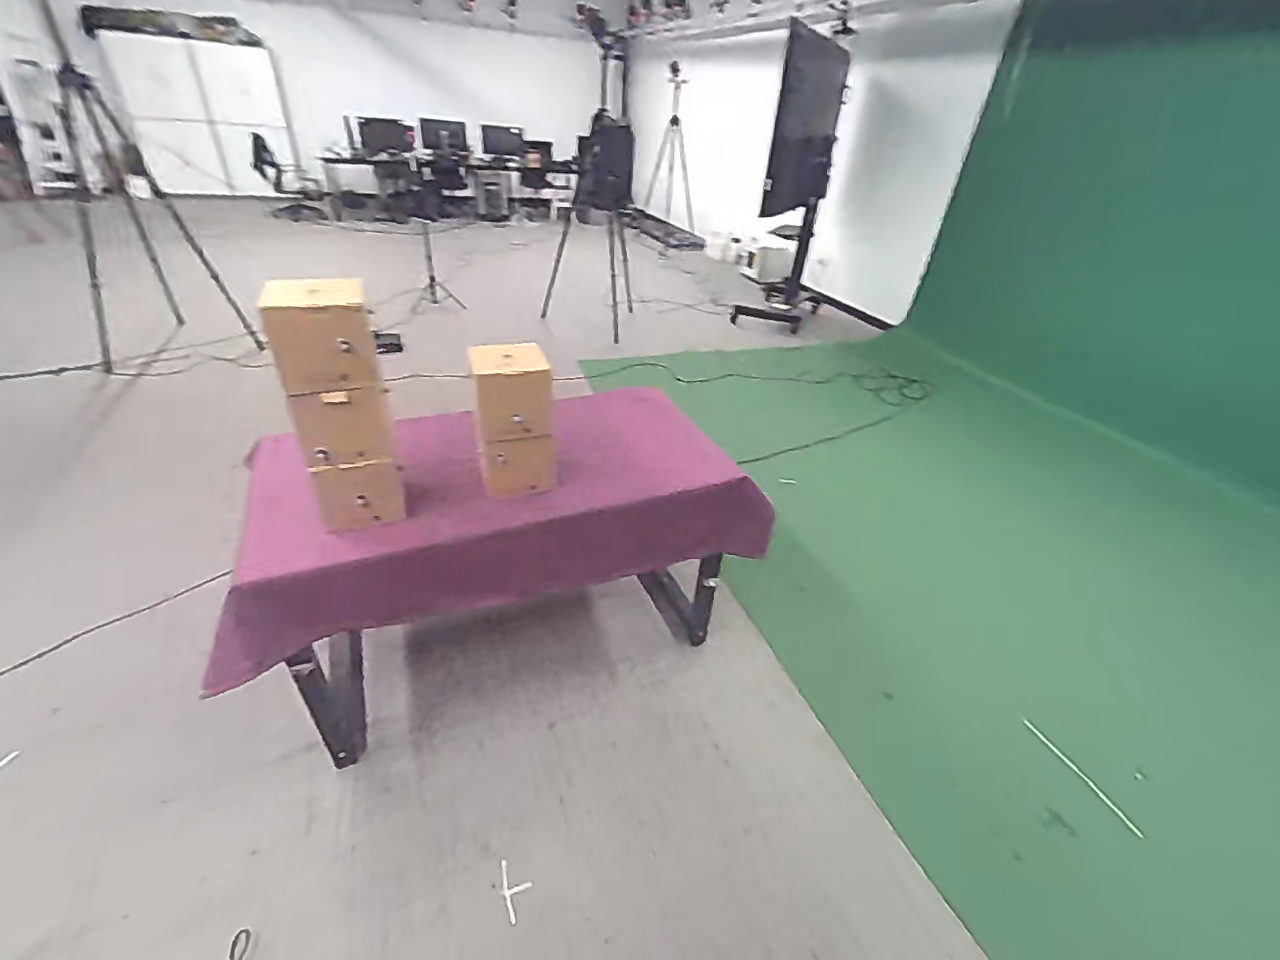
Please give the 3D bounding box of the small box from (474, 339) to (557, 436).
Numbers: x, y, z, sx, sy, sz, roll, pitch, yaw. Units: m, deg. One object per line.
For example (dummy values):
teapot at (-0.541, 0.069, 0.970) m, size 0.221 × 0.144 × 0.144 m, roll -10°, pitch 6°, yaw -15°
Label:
small box at (-0.295, -0.222, 1.276) m, size 0.168 × 0.176 × 0.179 m, roll -8°, pitch 37°, yaw -18°

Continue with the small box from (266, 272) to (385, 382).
small box at (-0.600, -0.296, 1.053) m, size 0.168 × 0.176 × 0.179 m, roll -9°, pitch 37°, yaw -22°

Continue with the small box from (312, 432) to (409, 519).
small box at (-0.629, -0.025, 1.235) m, size 0.168 × 0.176 × 0.179 m, roll -8°, pitch 38°, yaw -21°

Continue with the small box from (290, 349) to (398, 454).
small box at (-0.615, -0.165, 1.147) m, size 0.168 × 0.176 × 0.179 m, roll -8°, pitch 36°, yaw -20°
